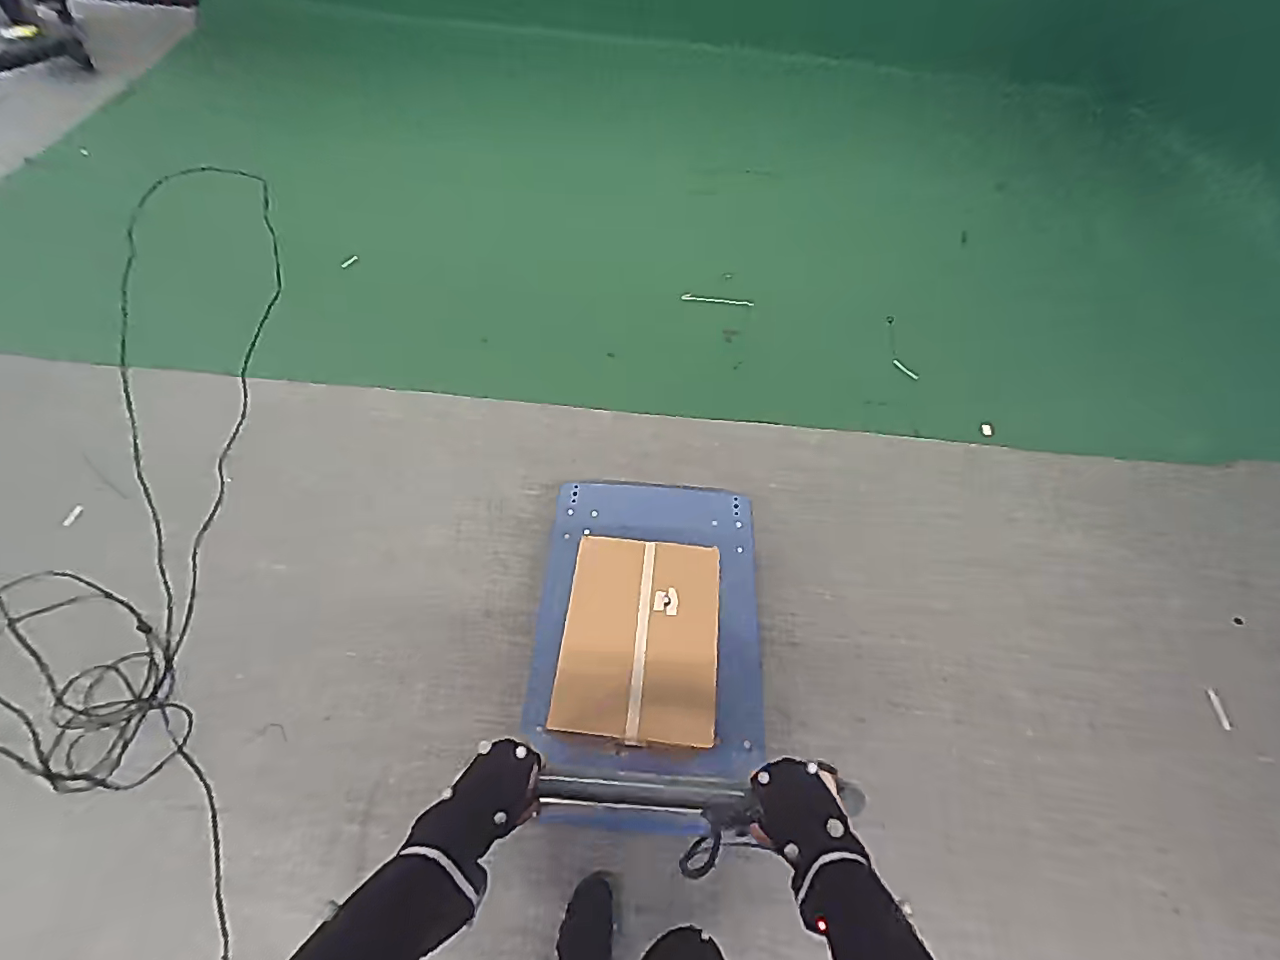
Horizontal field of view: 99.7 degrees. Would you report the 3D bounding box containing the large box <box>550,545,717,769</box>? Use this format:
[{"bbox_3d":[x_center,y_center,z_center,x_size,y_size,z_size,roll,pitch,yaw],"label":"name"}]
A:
[{"bbox_3d":[-0.002,0.405,1.225,0.320,0.320,0.408,6,57,2],"label":"large box"}]
